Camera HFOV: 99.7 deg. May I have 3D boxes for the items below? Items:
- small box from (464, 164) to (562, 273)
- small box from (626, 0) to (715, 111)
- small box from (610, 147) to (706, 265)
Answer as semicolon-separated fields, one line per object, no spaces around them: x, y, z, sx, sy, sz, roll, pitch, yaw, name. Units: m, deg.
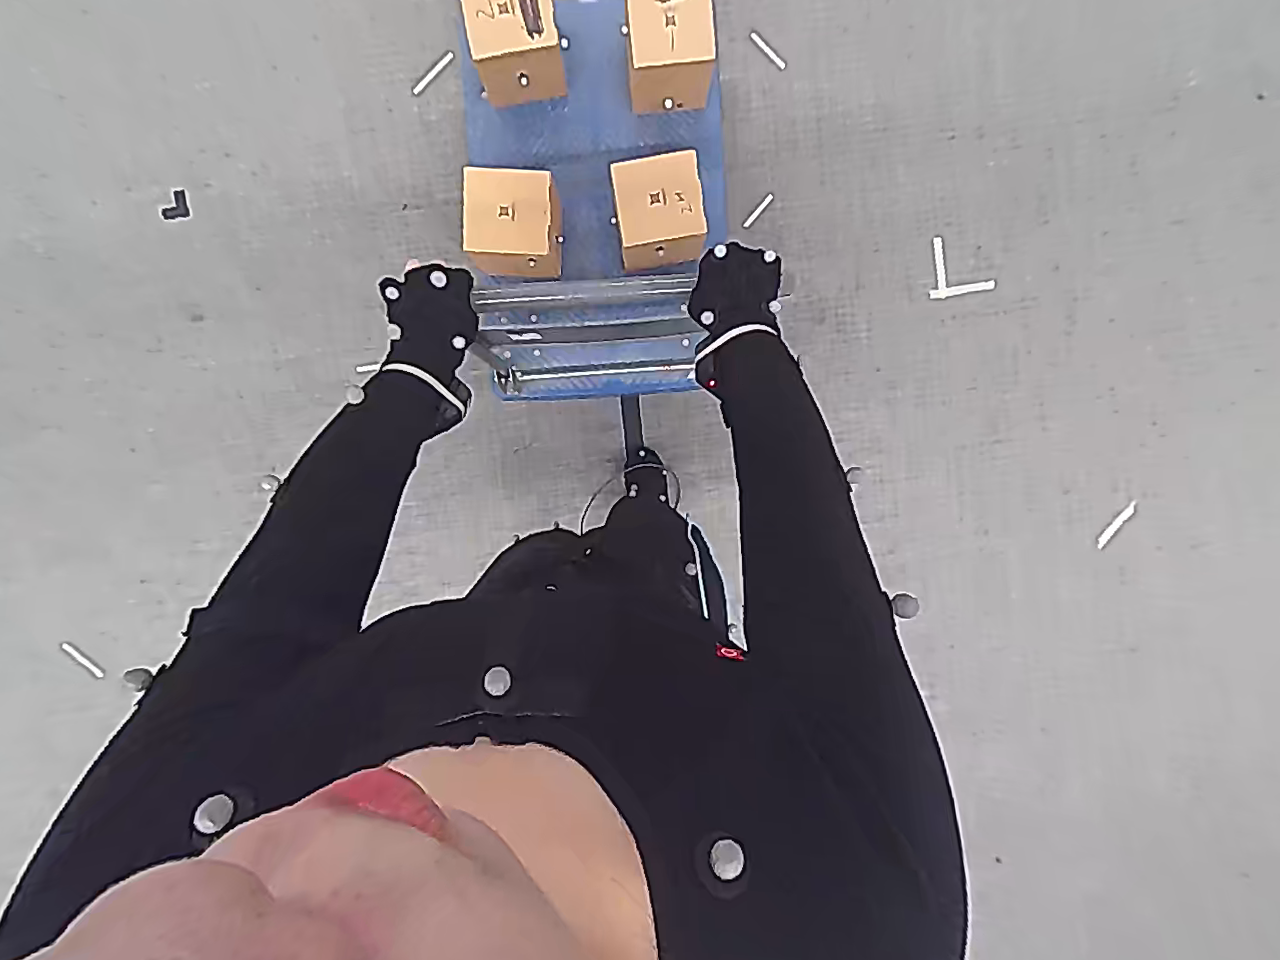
-0.268;-0.557;1.171;0.179;0.176;0.168;2;95;-2;small box
0.059;-0.920;1.137;0.168;0.176;0.179;-6;96;0;small box
0.038;-0.580;1.168;0.179;0.176;0.168;-9;95;1;small box
